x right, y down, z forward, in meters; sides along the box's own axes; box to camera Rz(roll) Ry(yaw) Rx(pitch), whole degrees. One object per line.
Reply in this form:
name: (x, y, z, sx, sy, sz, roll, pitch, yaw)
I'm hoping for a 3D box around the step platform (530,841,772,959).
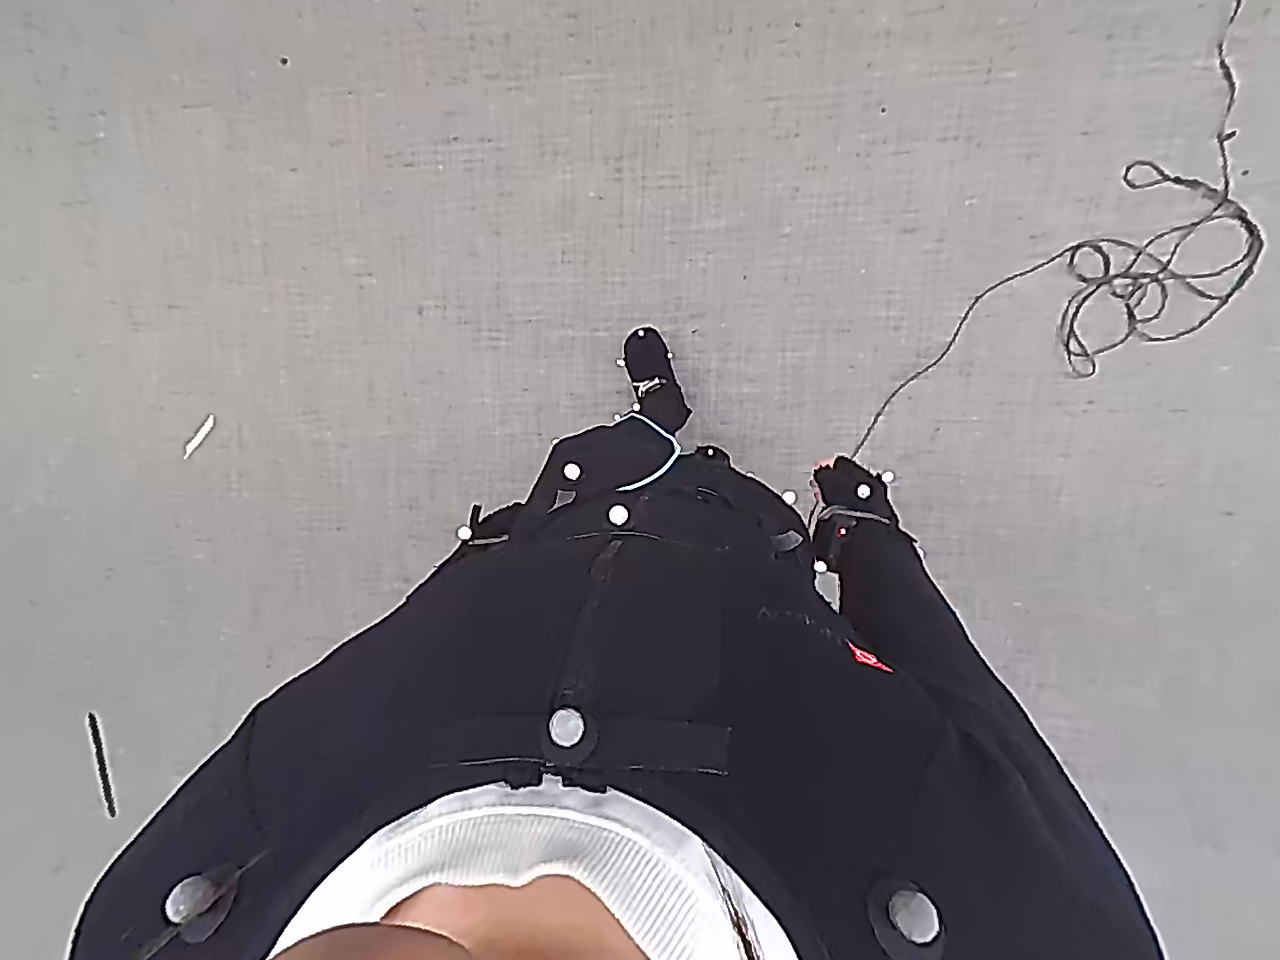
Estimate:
step platform: (0.030, 1.262, 1.558, 0.684, 0.204, 0.286, 0, 99, 8)
